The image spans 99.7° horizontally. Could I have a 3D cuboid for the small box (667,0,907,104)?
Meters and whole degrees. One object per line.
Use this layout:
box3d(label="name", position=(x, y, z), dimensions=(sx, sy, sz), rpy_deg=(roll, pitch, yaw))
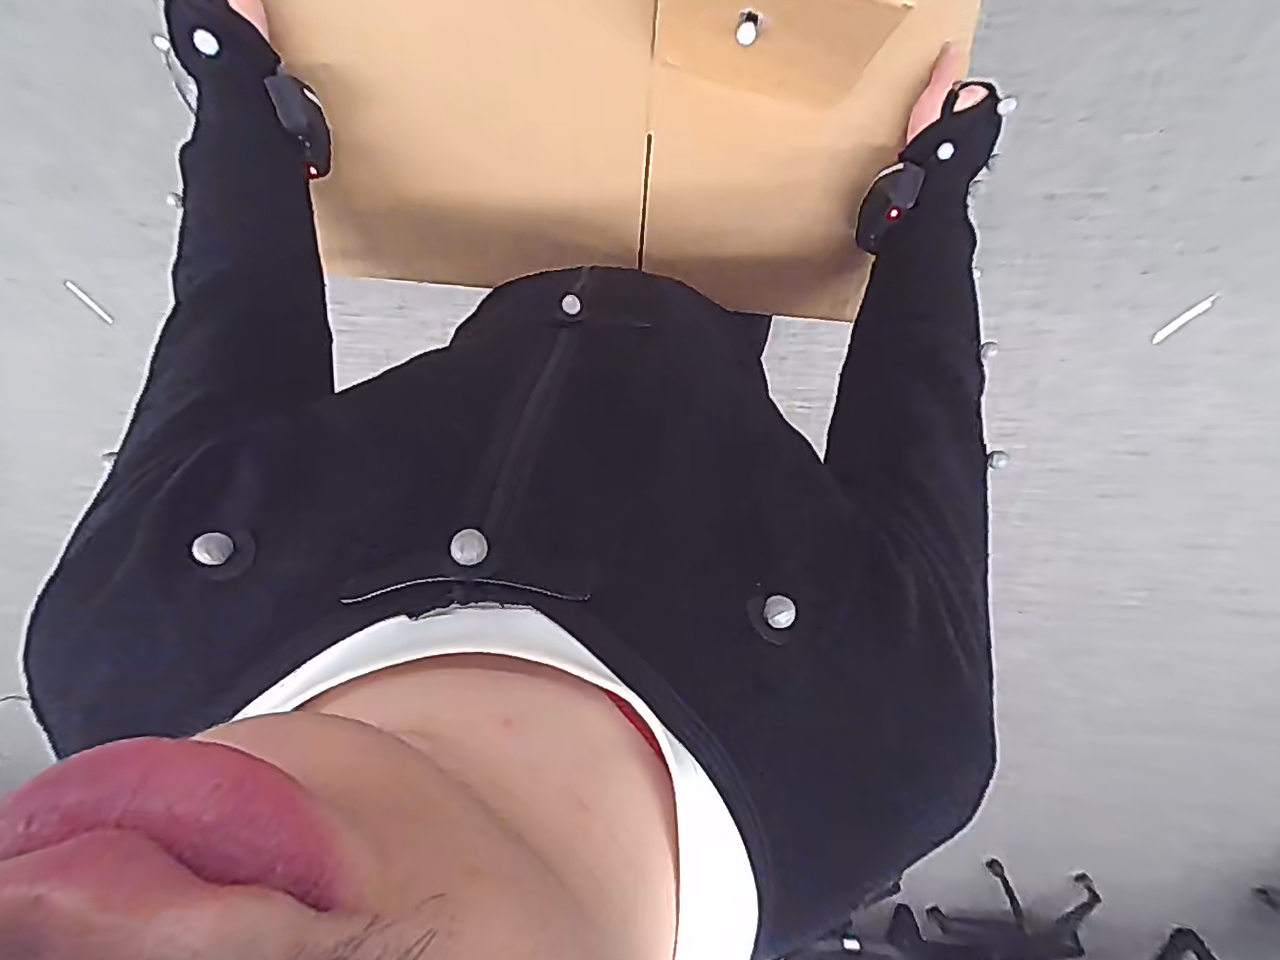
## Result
box3d(label="small box", position=(0.123, -0.440, 0.430), dimensions=(0.179, 0.176, 0.168), rpy_deg=(14, 103, -2))
